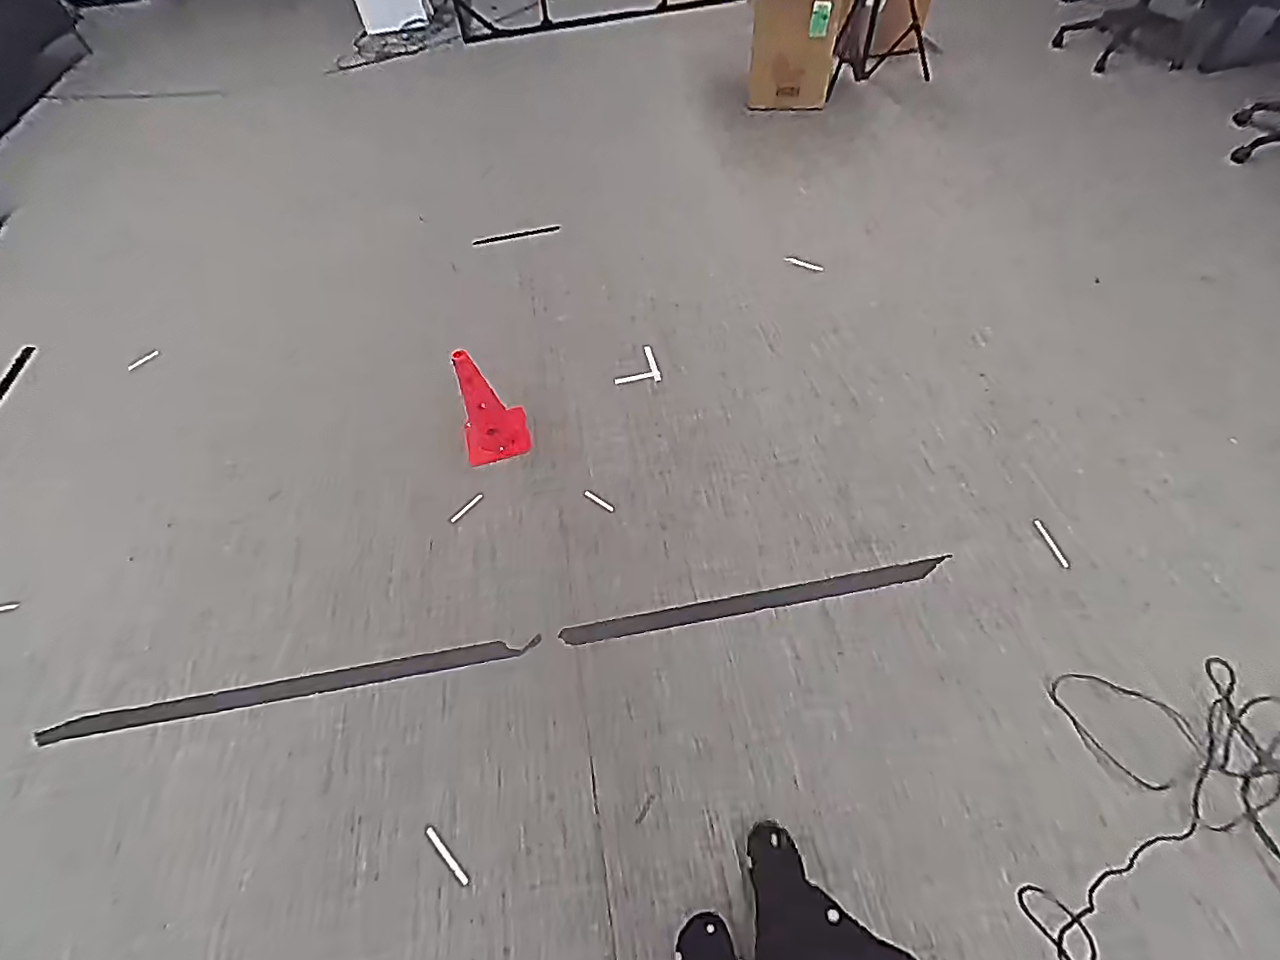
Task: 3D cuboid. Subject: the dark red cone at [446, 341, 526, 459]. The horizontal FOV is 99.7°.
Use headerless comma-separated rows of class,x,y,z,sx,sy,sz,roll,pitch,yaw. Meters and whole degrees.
dark red cone,-0.484,-0.248,1.589,0.202,0.394,0.201,-17,57,-6
